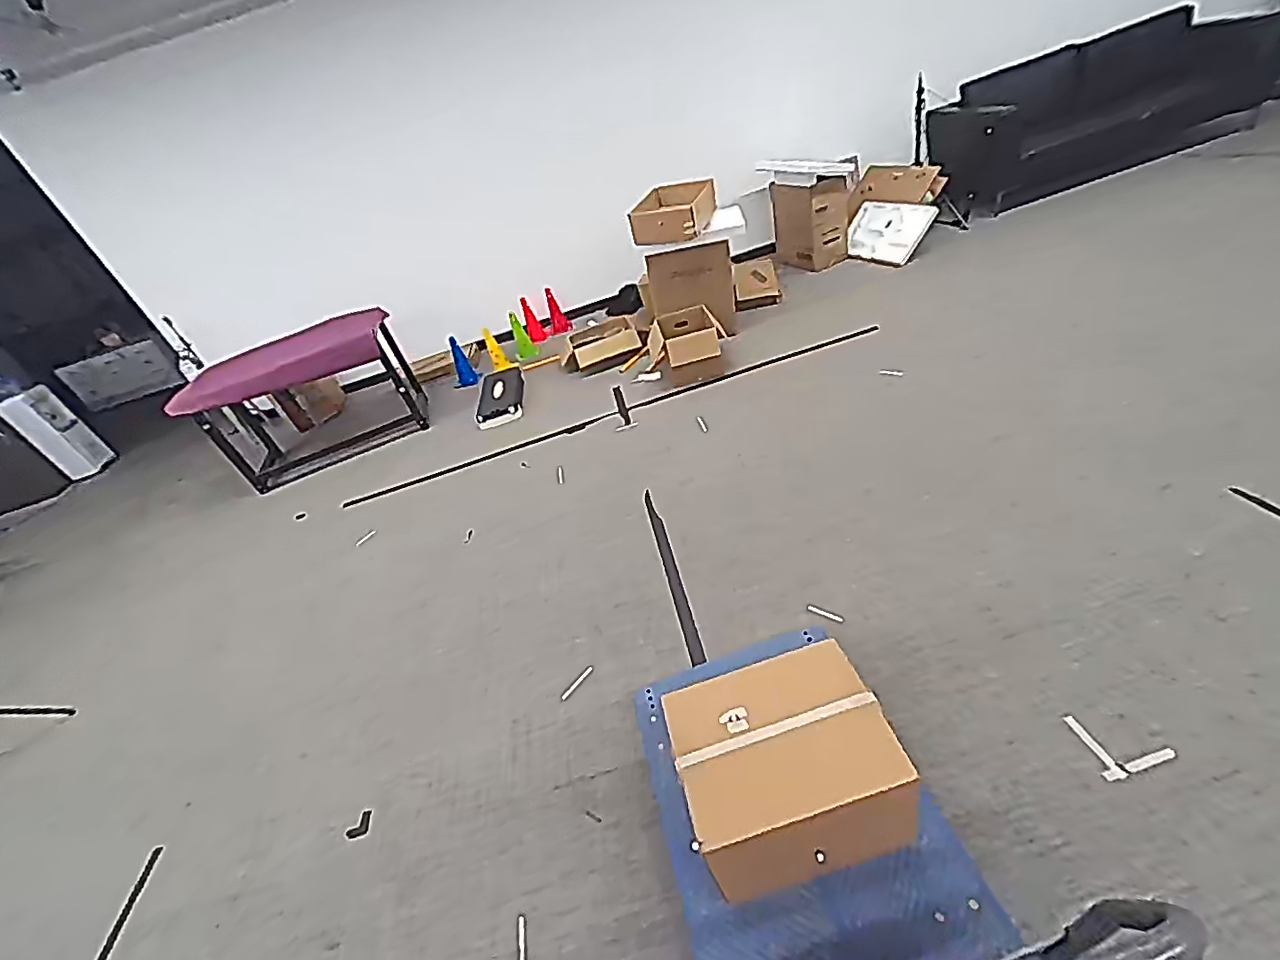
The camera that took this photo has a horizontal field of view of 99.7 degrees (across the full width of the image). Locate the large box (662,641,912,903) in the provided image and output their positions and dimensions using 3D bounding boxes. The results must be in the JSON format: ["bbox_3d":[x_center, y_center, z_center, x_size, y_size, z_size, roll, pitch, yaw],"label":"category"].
[{"bbox_3d":[0.304,0.617,1.153,0.408,0.320,0.320,-20,35,0],"label":"large box"}]
